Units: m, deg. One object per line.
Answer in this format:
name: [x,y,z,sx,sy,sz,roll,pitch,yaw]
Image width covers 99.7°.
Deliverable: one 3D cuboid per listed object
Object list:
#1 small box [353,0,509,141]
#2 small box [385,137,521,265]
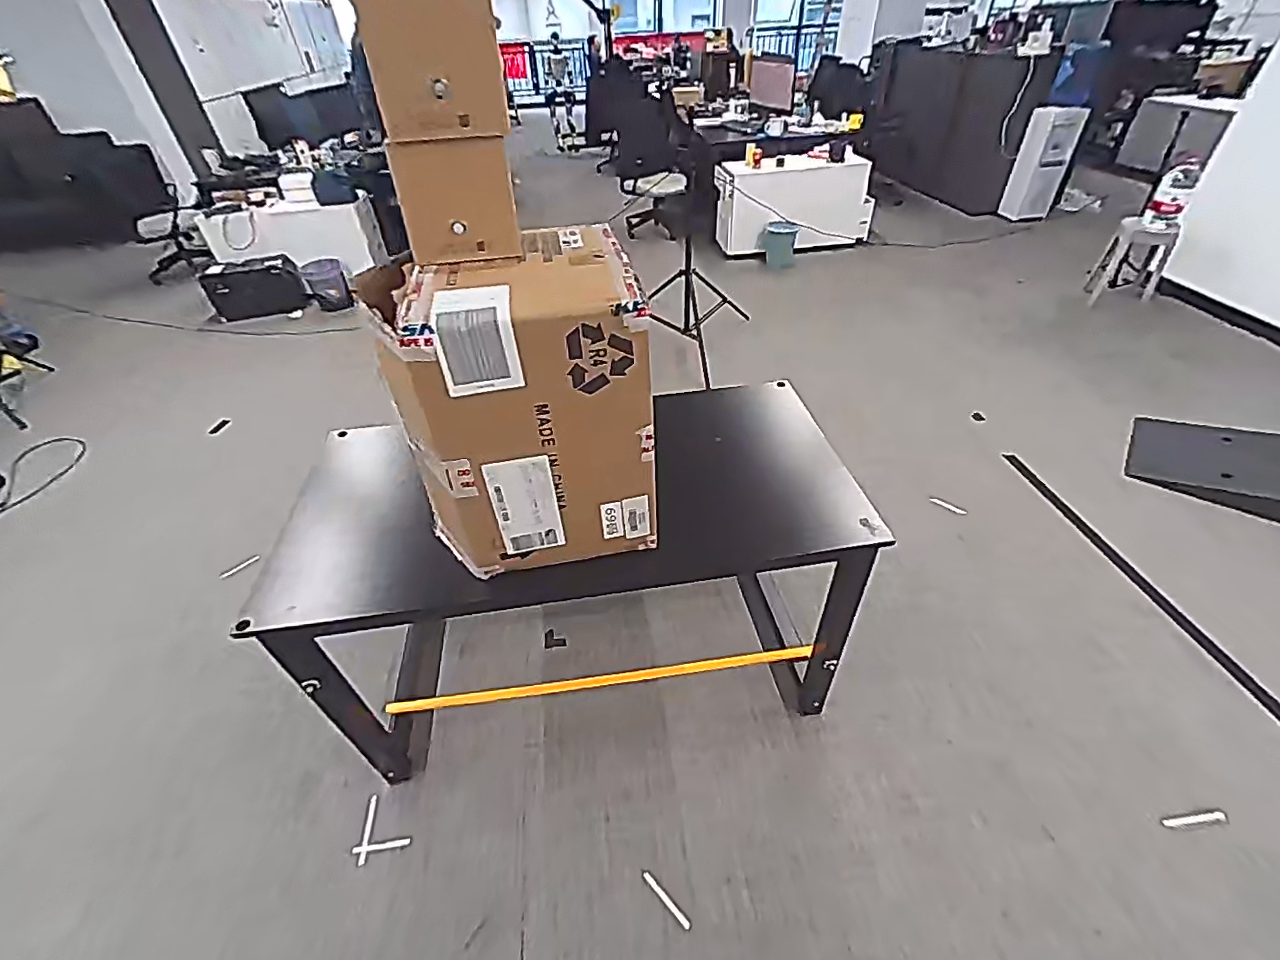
small box: [-0.284,-0.583,0.759,0.168,0.176,0.179,-11,39,-11]
small box: [-0.288,-0.457,0.867,0.168,0.176,0.179,-10,39,-9]
